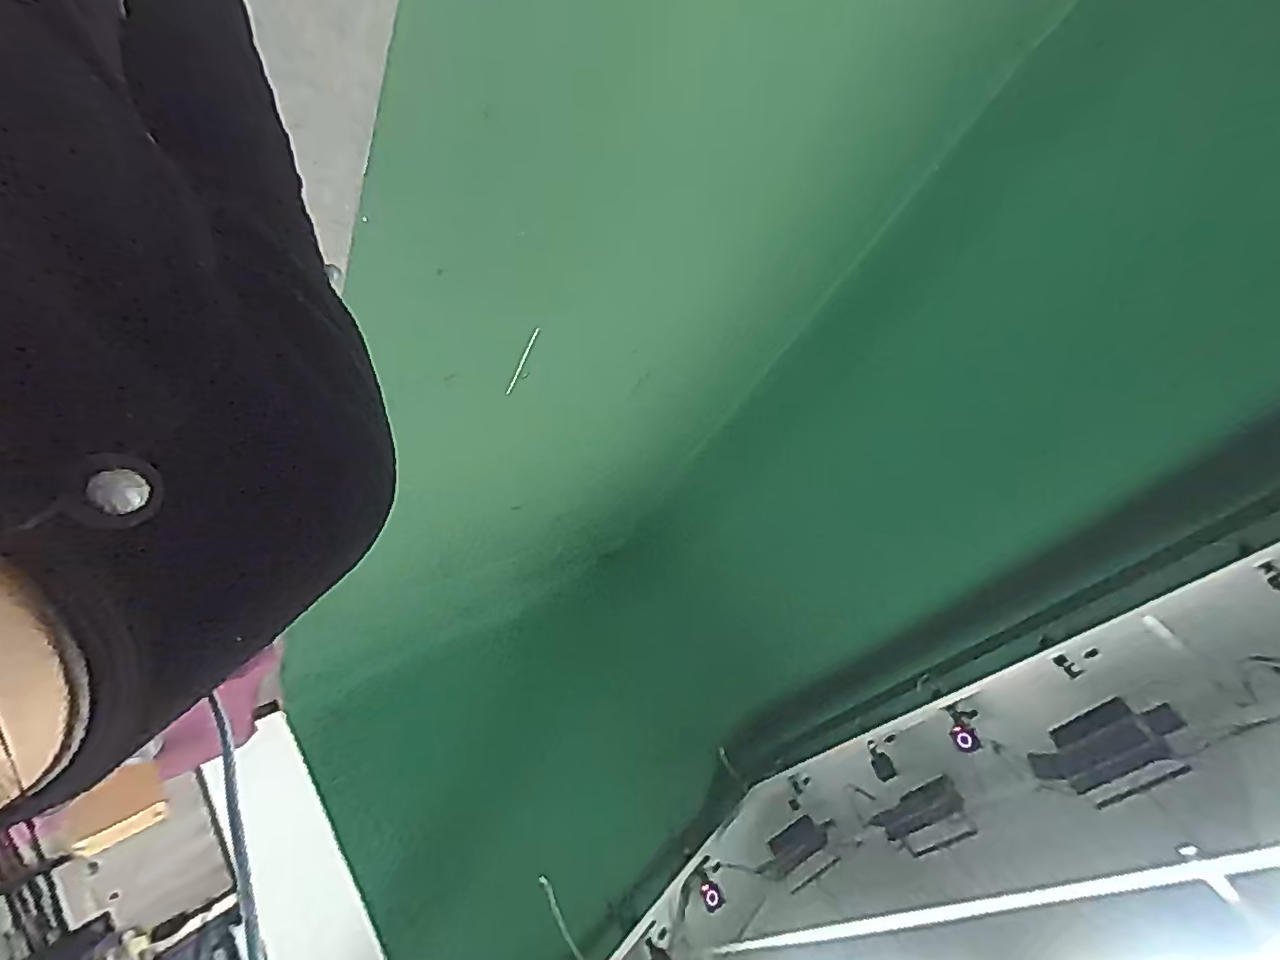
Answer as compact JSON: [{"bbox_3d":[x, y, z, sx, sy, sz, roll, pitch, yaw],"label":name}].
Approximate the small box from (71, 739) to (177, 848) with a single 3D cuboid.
[{"bbox_3d":[-1.393,0.842,1.460,0.179,0.176,0.168,-18,153,-43],"label":"small box"}]
